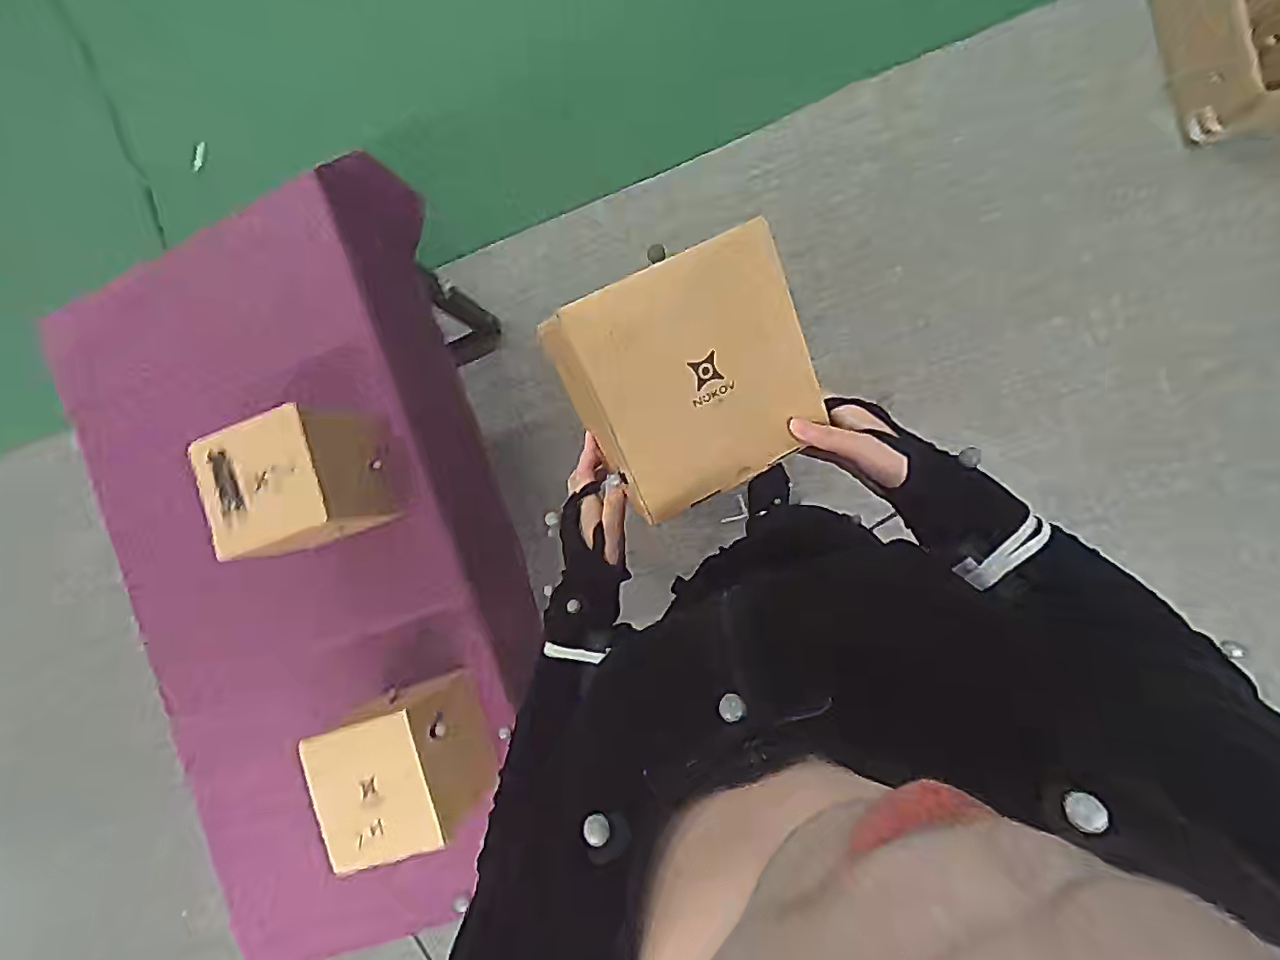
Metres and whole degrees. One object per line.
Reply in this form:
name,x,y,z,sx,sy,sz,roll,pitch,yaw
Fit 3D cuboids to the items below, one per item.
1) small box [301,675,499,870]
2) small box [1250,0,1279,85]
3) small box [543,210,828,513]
small box,-0.326,0.395,0.764,0.168,0.176,0.179,-20,86,10
small box,1.469,-0.992,1.144,0.179,0.176,0.168,-15,87,11
small box,0.027,-0.101,0.472,0.168,0.176,0.179,-27,110,-8
